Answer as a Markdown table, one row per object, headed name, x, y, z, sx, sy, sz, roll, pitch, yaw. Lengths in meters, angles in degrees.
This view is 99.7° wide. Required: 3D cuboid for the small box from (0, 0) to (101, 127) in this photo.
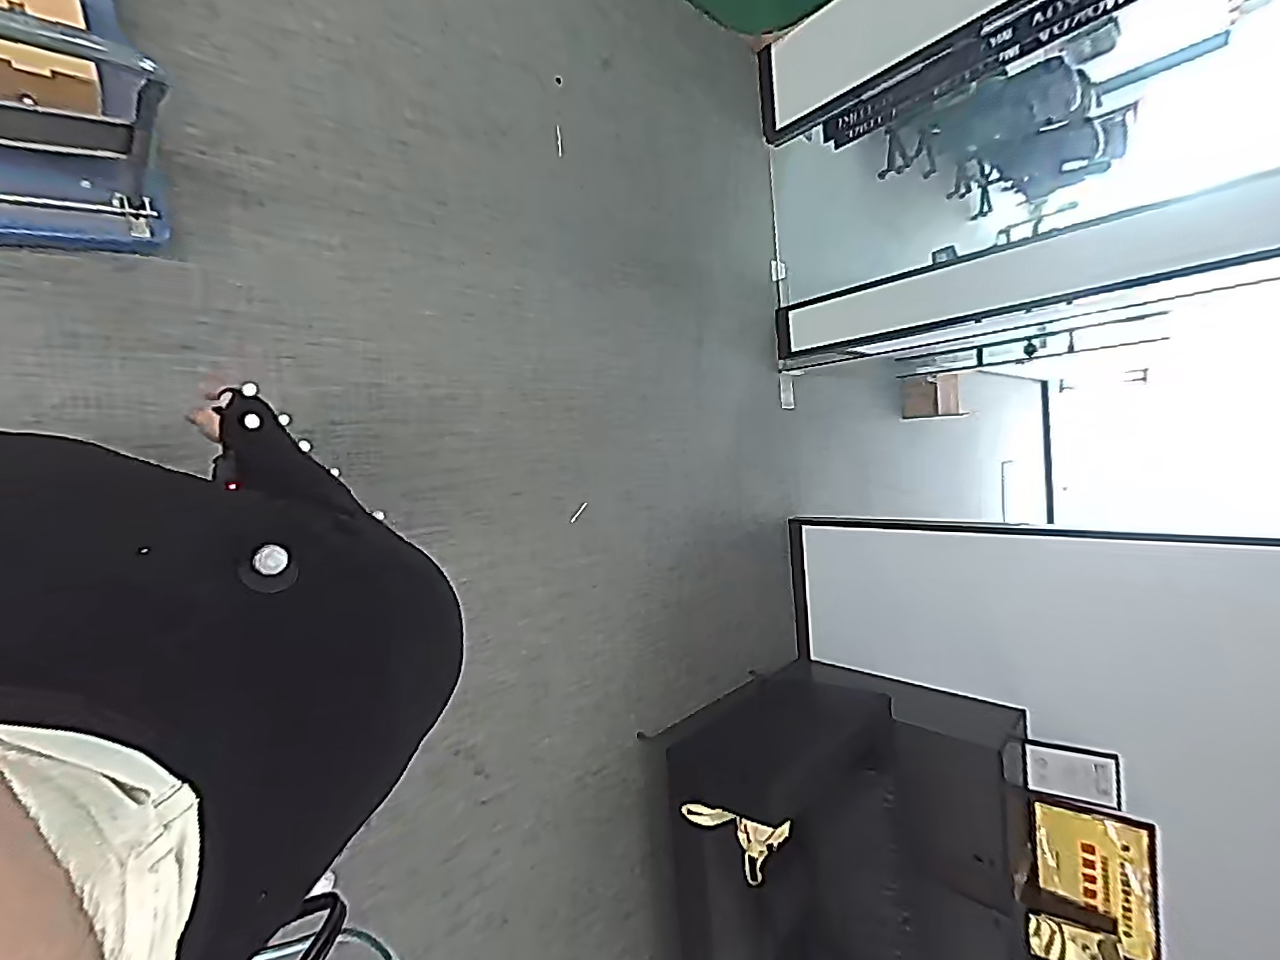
| name | x | y | z | sx | sy | sz | roll | pitch | yaw |
| --- | --- | --- | --- | --- | --- | --- | --- | --- | --- |
| small box | -1.085 | -0.770 | 0.952 | 0.168 | 0.176 | 0.179 | -14 | 100 | -43 |
